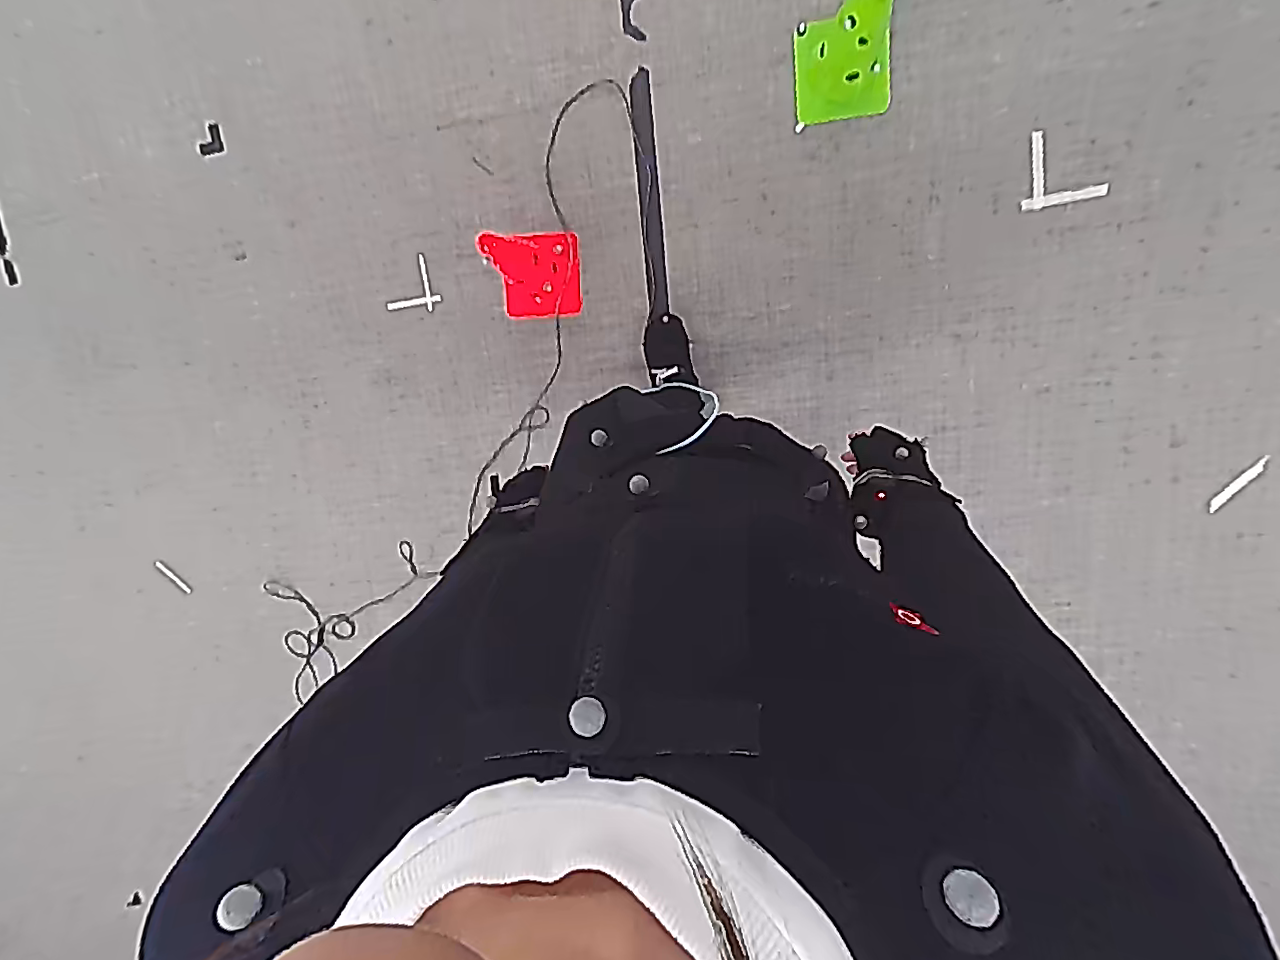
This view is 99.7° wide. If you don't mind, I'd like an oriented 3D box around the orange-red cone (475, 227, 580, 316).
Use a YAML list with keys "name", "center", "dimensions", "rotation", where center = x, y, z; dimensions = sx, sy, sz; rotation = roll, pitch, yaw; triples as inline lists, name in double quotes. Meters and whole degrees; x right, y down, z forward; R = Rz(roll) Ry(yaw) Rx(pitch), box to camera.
- name: "orange-red cone"
  center: [-0.271, -0.486, 1.188]
  dimensions: [0.199, 0.360, 0.198]
  rotation: [0, 100, 9]

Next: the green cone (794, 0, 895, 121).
- name: "green cone"
  center: [0.424, -0.872, 1.016]
  dimensions: [0.202, 0.368, 0.200]
  rotation: [-5, 101, 7]
